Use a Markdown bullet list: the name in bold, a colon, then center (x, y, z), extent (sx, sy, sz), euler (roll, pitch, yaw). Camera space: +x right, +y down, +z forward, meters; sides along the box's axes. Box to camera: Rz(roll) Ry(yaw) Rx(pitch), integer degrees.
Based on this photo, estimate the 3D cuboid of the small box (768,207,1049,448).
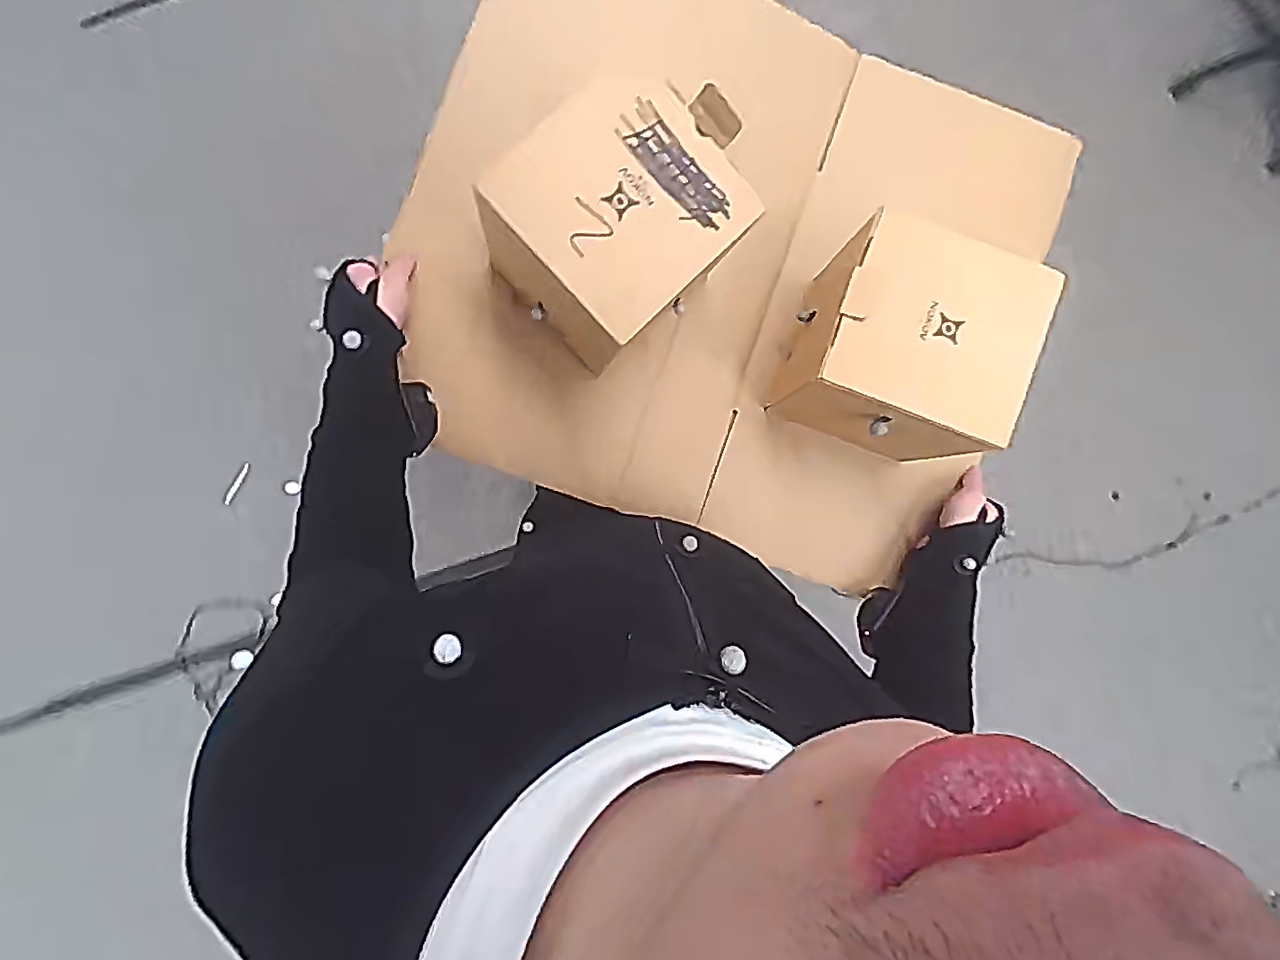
- **small box**: center (0.259, -0.138, 0.562), extent (0.179, 0.176, 0.168), euler (20, 87, -2)
